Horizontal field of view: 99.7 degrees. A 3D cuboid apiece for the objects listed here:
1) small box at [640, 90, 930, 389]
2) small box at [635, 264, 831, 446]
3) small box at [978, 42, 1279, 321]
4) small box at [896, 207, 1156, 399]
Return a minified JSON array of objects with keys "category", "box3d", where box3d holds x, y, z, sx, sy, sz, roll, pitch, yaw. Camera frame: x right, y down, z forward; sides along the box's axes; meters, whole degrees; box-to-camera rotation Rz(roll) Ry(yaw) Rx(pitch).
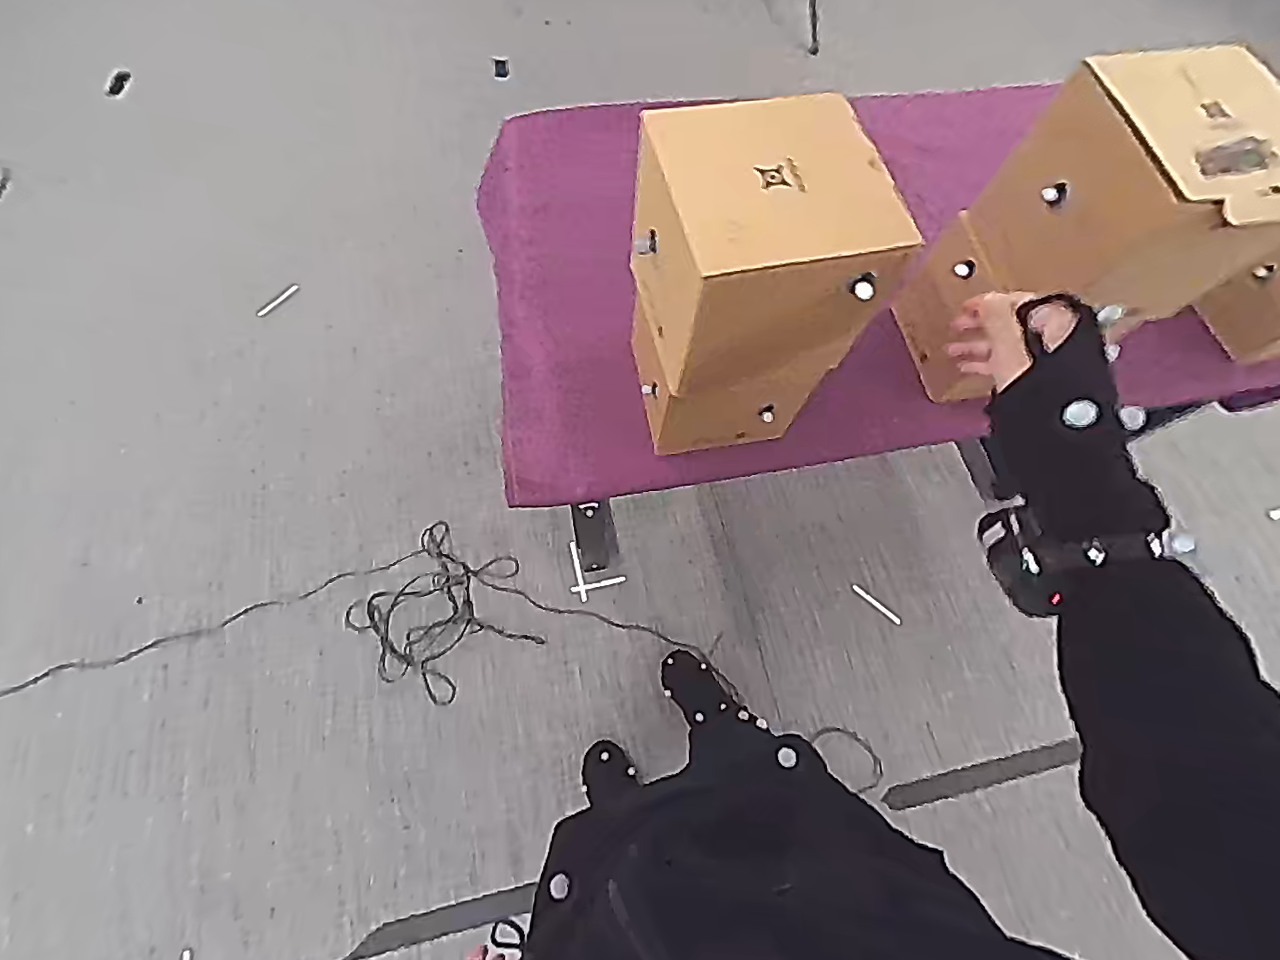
[{"category":"small box","box3d":[0.102,-0.198,0.477,0.179,0.176,0.168,-12,71,-10]},{"category":"small box","box3d":[0.092,-0.150,0.632,0.168,0.176,0.179,-9,69,-8]},{"category":"small box","box3d":[0.478,-0.272,0.523,0.168,0.176,0.179,-9,70,-6]},{"category":"small box","box3d":[0.464,-0.219,0.679,0.179,0.176,0.168,-9,71,-7]}]
